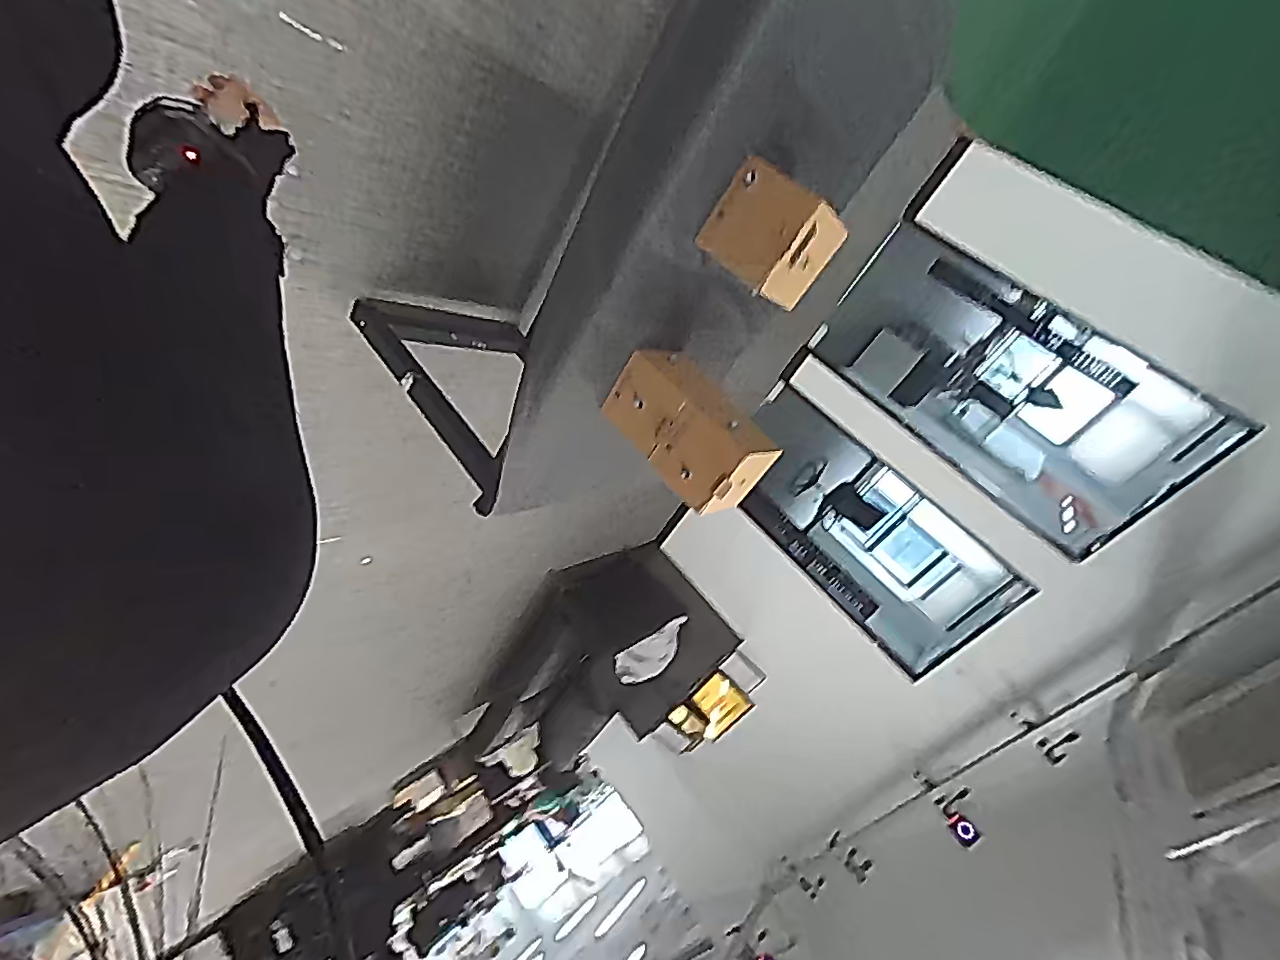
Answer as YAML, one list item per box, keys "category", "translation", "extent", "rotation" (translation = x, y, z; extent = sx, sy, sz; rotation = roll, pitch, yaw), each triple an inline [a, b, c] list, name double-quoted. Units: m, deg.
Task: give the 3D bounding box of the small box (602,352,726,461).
- category: "small box"
  translation: [0.048, -0.163, 1.181]
  extent: [0.179, 0.176, 0.168]
  rotation: [-11, 142, -52]

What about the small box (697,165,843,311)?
- category: "small box"
  translation: [0.235, -0.441, 0.991]
  extent: [0.179, 0.176, 0.168]
  rotation: [-7, 139, -57]

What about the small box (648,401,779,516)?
- category: "small box"
  translation: [0.149, -0.049, 1.122]
  extent: [0.179, 0.176, 0.168]
  rotation: [-10, 142, -55]
